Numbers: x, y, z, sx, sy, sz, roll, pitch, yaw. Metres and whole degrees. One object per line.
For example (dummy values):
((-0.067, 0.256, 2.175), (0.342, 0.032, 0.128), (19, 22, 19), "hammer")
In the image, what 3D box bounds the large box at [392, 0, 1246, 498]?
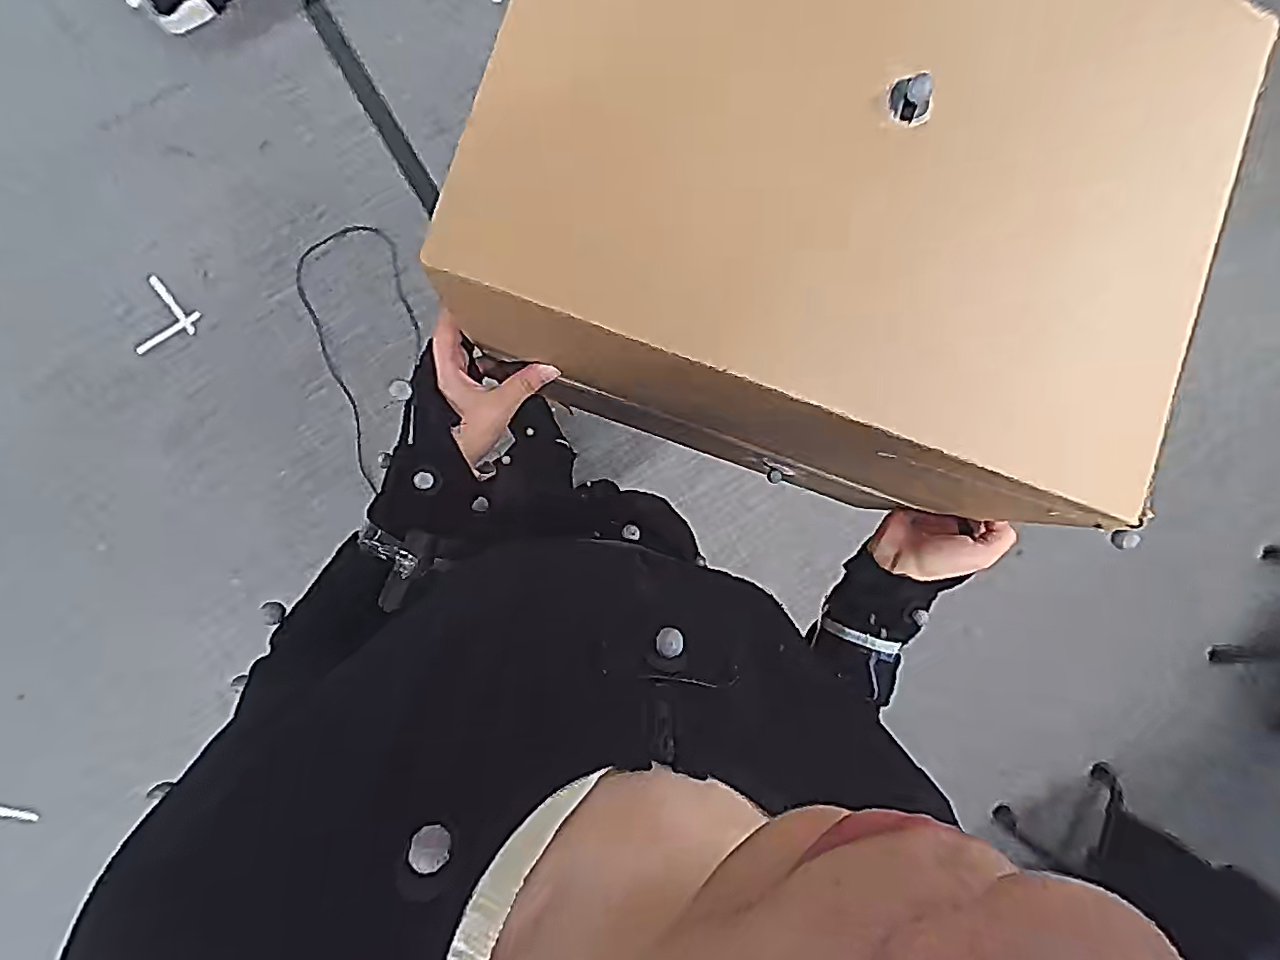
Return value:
((0.096, -0.193, 0.423), (0.408, 0.320, 0.320), (16, 90, -6), "large box")
